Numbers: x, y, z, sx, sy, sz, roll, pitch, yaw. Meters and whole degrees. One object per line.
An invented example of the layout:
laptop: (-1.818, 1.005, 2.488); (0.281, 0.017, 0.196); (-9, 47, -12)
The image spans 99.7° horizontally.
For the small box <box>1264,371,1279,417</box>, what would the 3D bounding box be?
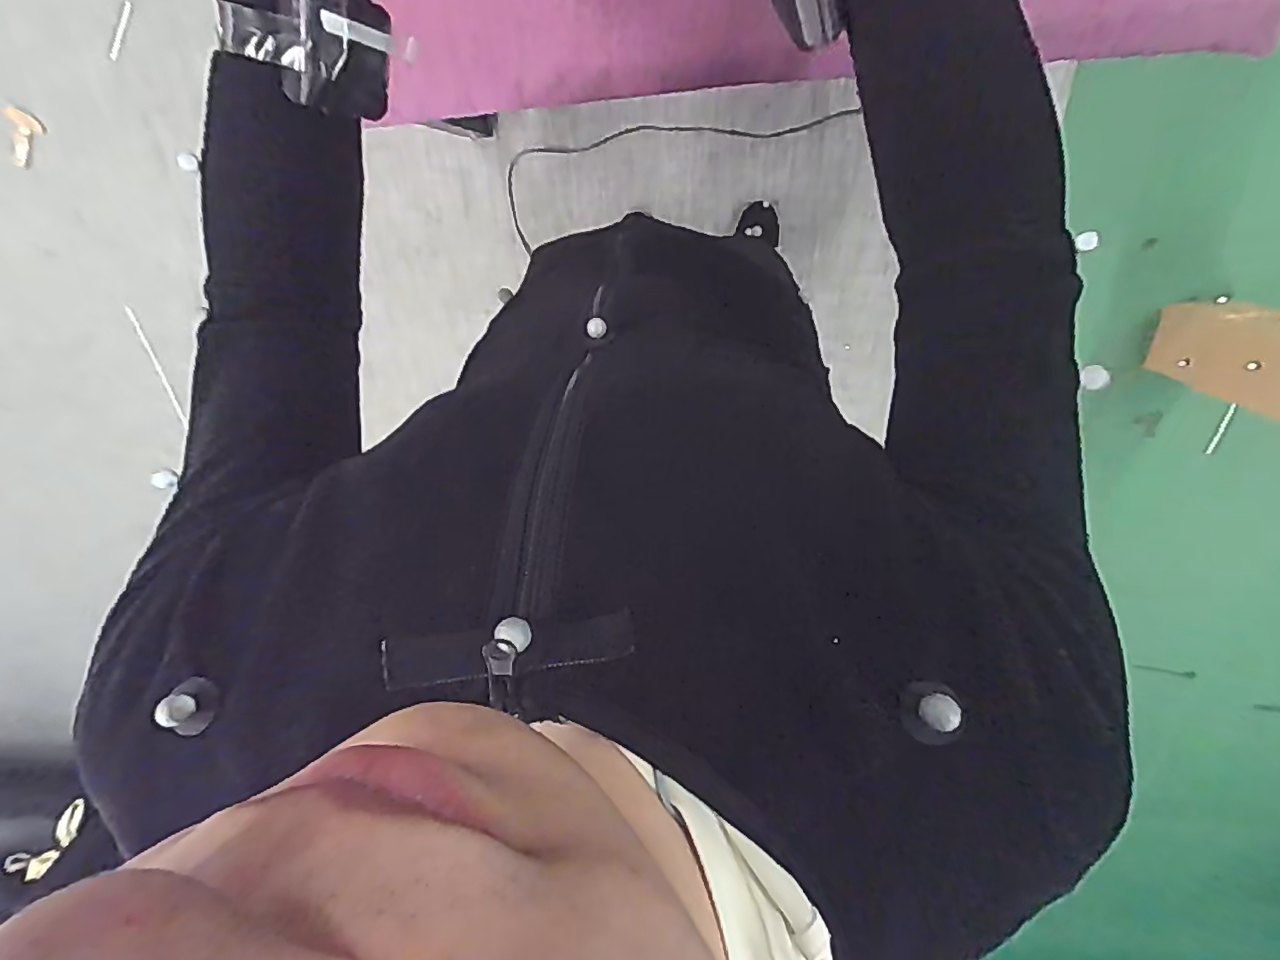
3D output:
small box: (1.432, -0.193, 1.077); (0.168, 0.176, 0.179); (-4, 117, 7)

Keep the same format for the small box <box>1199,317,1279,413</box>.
small box: (1.441, -0.264, 1.225); (0.168, 0.176, 0.179); (-3, 115, 6)

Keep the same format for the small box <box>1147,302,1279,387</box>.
small box: (1.449, -0.345, 1.366); (0.168, 0.176, 0.179); (-1, 117, 5)
